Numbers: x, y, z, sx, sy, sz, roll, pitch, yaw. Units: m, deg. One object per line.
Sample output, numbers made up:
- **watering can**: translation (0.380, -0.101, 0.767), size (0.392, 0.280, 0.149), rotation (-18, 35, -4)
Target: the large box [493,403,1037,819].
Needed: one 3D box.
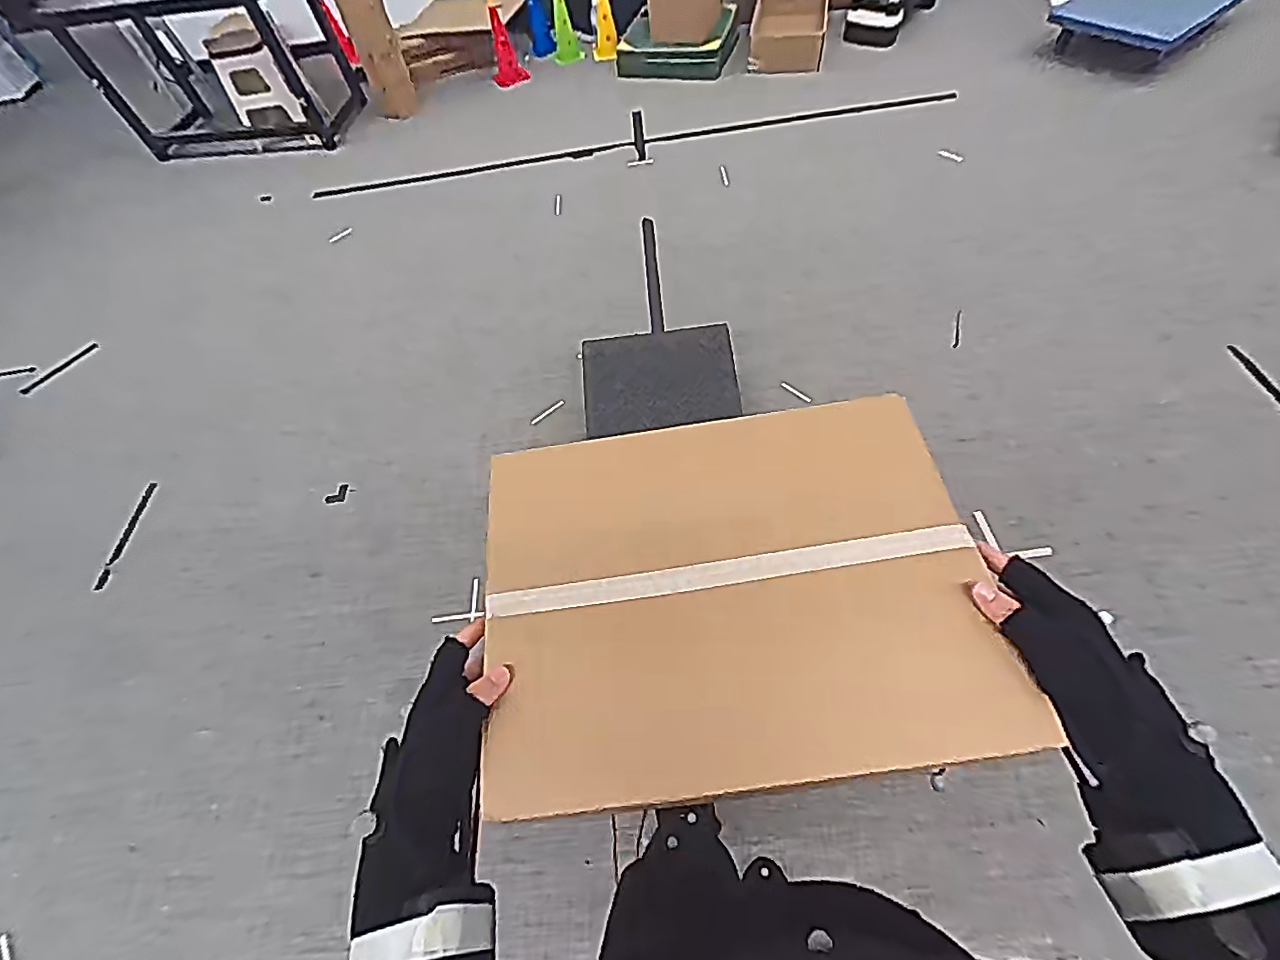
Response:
- **large box**: translation (0.086, 0.157, 0.589), size (0.408, 0.320, 0.320), rotation (-8, 58, 1)
